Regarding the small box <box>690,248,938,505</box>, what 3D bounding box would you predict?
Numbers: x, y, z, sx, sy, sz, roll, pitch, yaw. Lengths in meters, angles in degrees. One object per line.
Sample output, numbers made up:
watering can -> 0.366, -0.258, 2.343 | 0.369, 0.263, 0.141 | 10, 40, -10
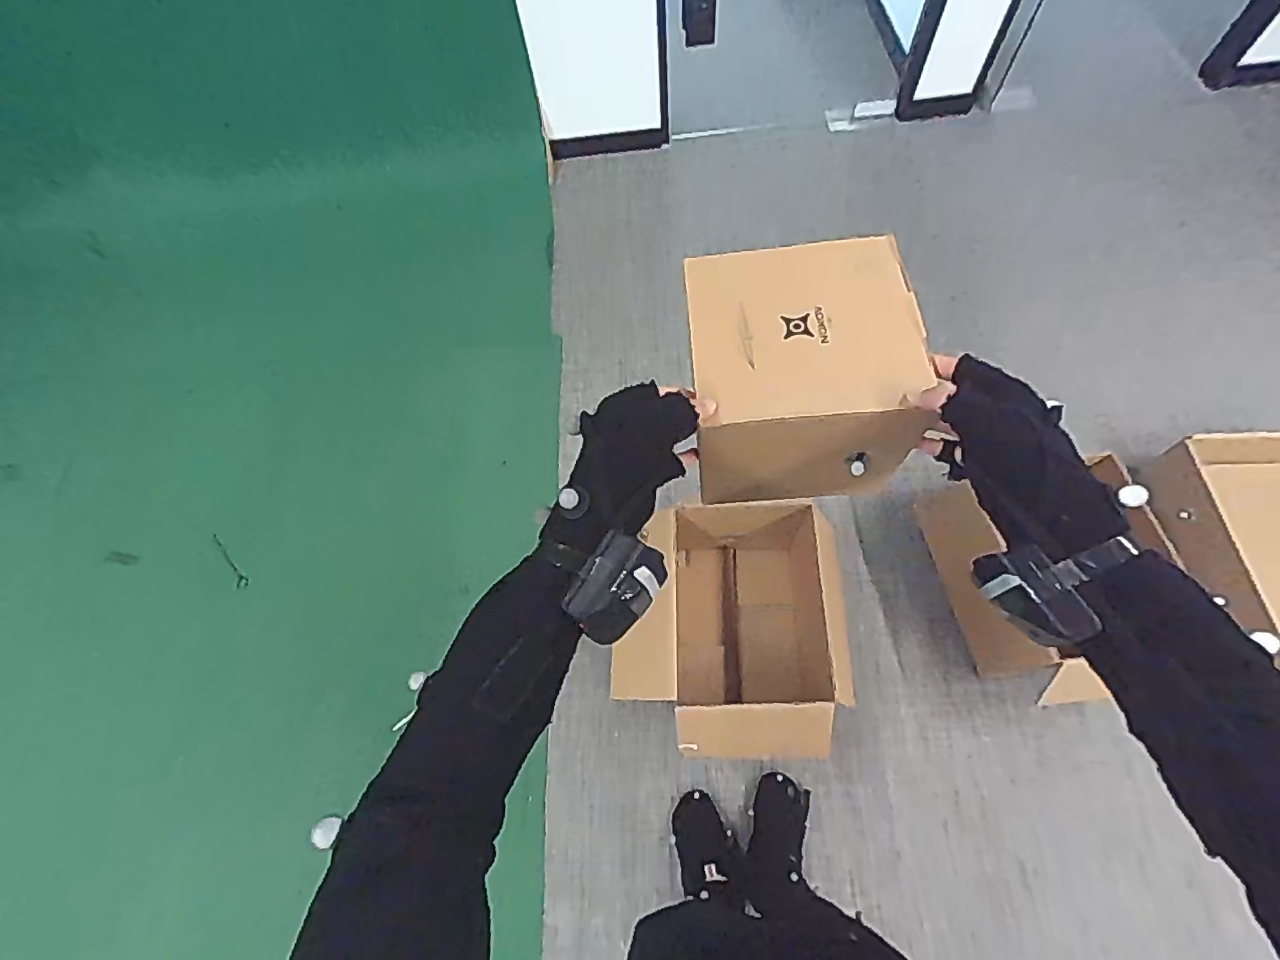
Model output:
small box -> 0.139, -0.084, 0.507 | 0.179, 0.176, 0.168 | -5, 65, 5
